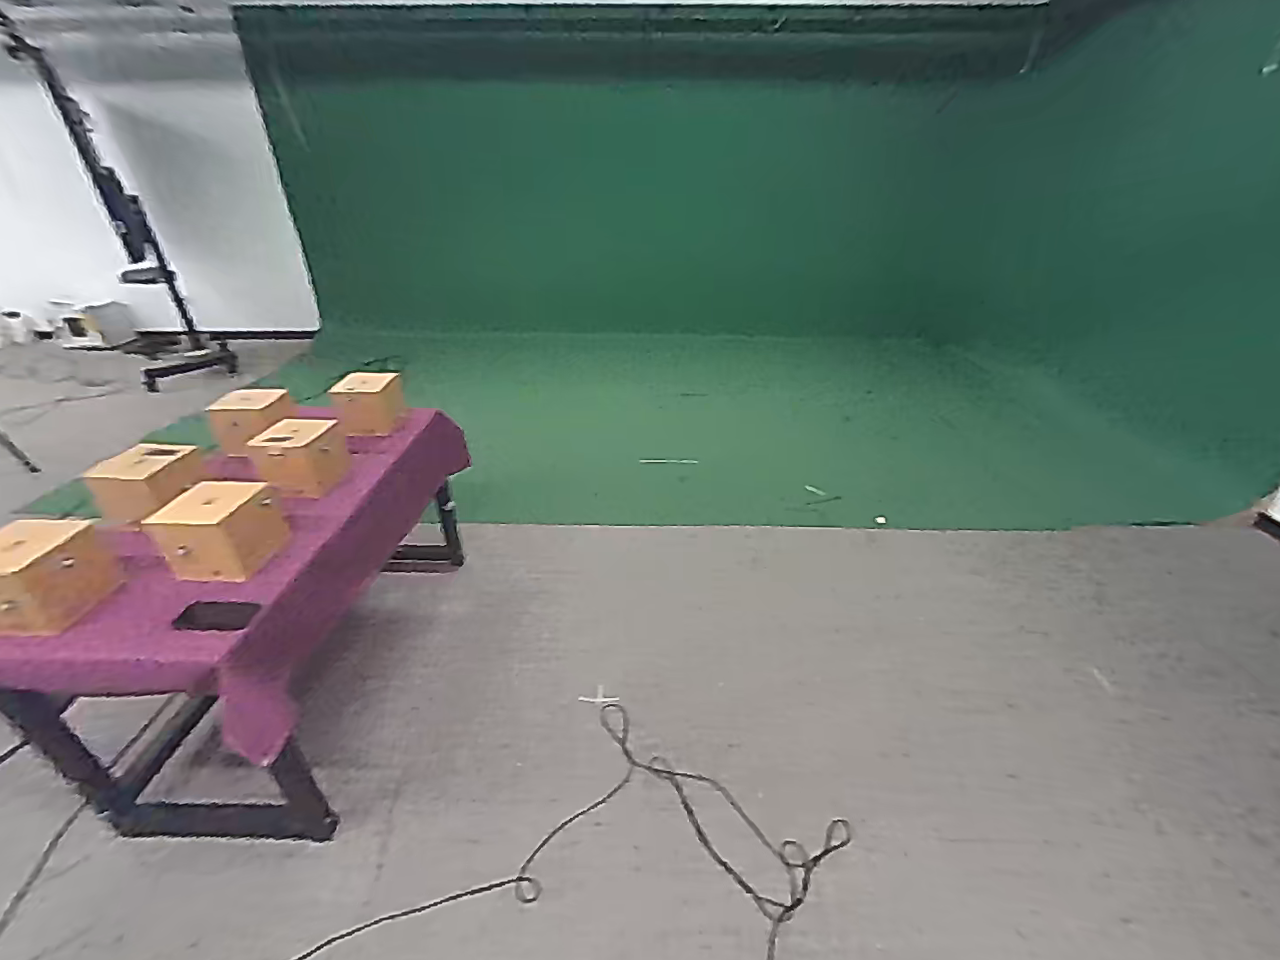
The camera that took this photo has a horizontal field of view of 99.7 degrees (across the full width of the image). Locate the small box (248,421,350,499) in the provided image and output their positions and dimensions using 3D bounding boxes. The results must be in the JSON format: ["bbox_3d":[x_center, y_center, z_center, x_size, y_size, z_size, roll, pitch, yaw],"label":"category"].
[{"bbox_3d":[-0.975,-0.058,1.567,0.168,0.176,0.179,3,30,4],"label":"small box"}]

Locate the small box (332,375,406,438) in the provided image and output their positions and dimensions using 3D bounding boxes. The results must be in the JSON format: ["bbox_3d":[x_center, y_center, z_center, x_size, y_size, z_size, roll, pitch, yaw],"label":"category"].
[{"bbox_3d":[-0.942,-0.259,1.900,0.168,0.176,0.179,0,31,1],"label":"small box"}]

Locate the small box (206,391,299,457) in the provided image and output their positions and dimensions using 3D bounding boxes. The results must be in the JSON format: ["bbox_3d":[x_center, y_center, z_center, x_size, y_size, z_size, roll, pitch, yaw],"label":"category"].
[{"bbox_3d":[-1.253,-0.181,1.770,0.179,0.176,0.168,0,31,-1],"label":"small box"}]

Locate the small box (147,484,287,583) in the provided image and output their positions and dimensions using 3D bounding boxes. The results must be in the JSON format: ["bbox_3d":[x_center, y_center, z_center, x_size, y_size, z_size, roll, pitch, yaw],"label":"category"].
[{"bbox_3d":[-0.970,0.124,1.264,0.168,0.176,0.179,1,30,3],"label":"small box"}]
